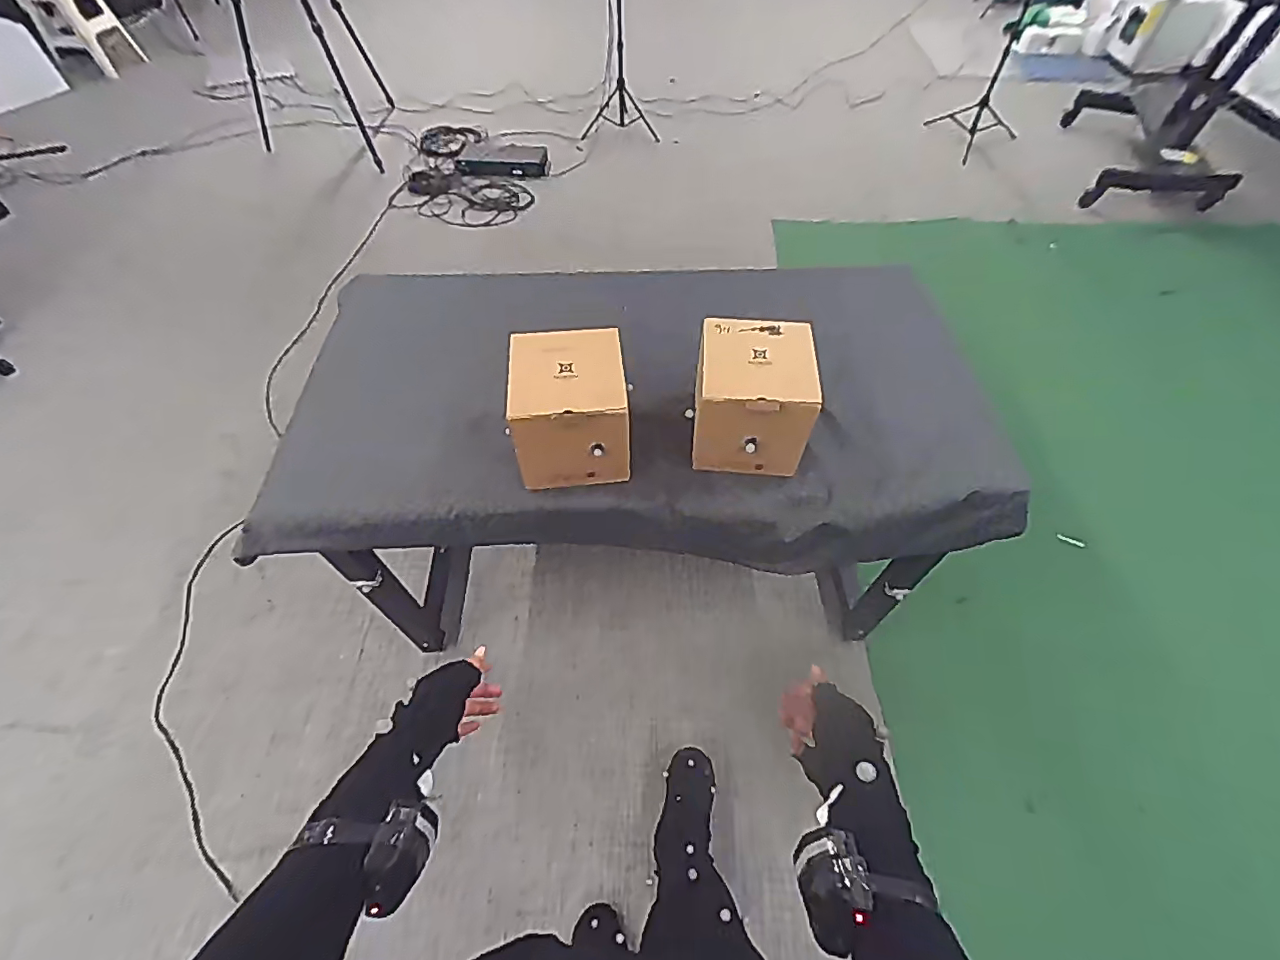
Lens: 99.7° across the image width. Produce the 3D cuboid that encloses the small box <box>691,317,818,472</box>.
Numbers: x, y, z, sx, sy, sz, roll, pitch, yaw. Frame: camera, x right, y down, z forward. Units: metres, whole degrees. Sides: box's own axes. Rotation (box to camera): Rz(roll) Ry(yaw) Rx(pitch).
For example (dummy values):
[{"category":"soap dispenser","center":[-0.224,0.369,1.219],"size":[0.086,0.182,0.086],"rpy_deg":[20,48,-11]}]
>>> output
[{"category":"small box","center":[0.170,-0.130,0.850],"size":[0.168,0.176,0.179],"rpy_deg":[5,55,3]}]

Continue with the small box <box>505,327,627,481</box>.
[{"category":"small box","center":[-0.109,-0.111,0.834],"size":[0.168,0.176,0.179],"rpy_deg":[-4,53,-6]}]
